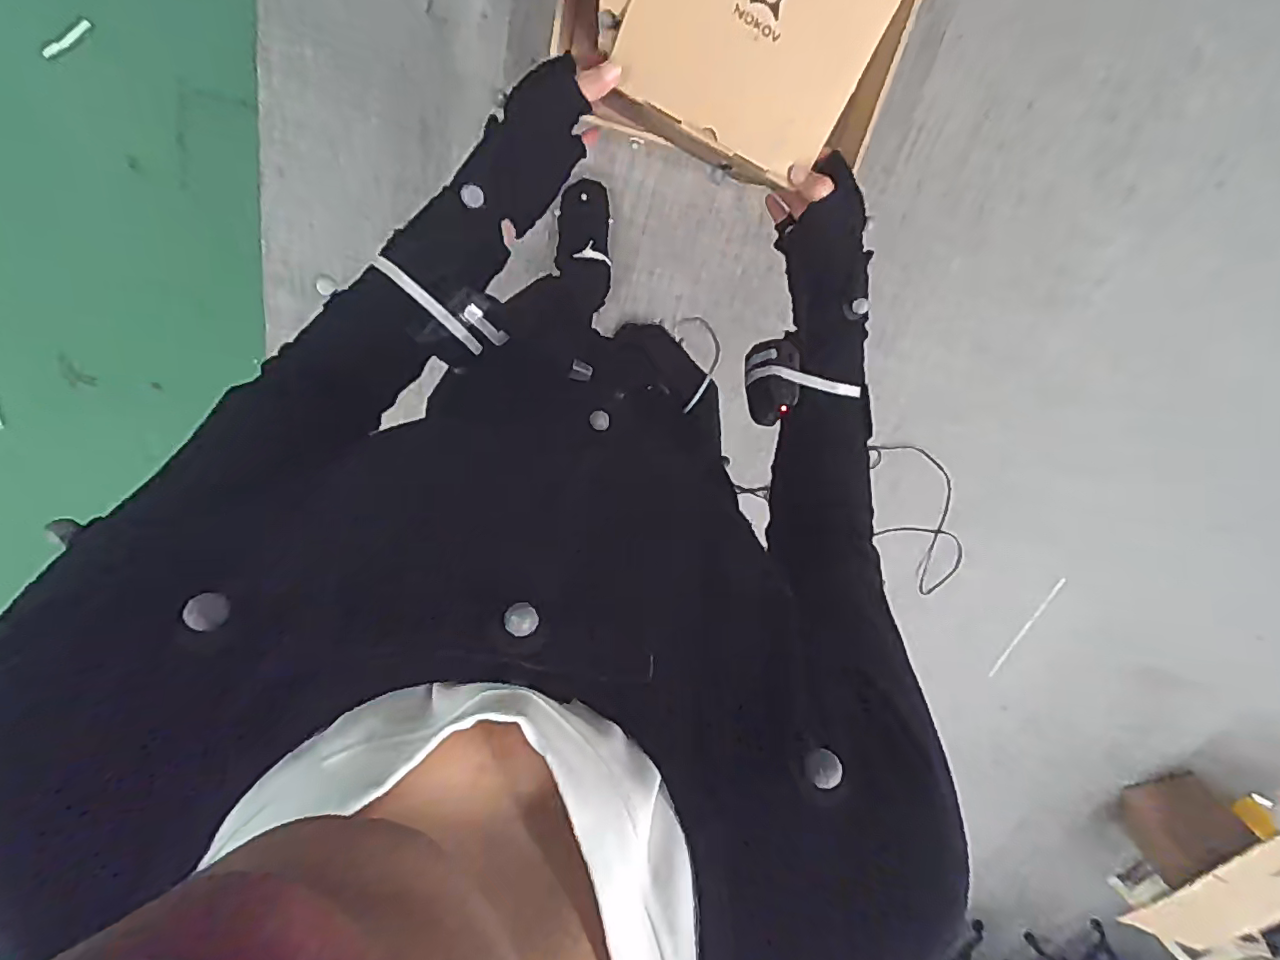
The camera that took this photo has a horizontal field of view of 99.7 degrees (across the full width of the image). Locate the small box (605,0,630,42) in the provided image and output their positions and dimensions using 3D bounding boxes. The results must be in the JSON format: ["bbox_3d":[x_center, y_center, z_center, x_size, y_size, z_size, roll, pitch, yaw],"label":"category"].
[{"bbox_3d":[0.042,-0.771,0.820,0.168,0.176,0.179,11,116,-10],"label":"small box"}]

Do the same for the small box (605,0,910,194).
[{"bbox_3d":[0.080,-0.353,0.419,0.168,0.176,0.179,19,117,-18],"label":"small box"}]
